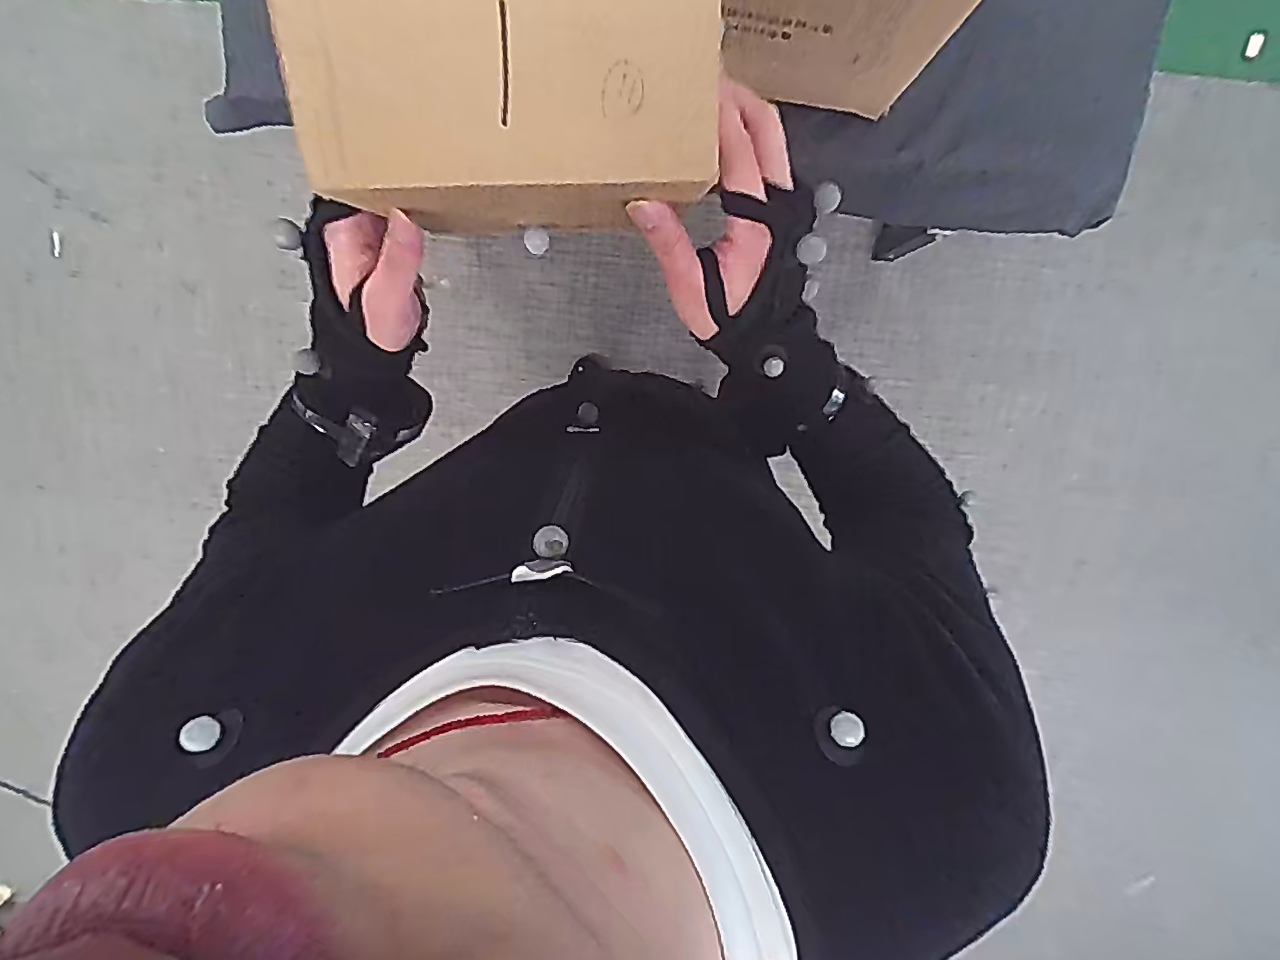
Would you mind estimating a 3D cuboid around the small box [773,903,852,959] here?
[{"bbox_3d":[0.518,1.435,1.647,0.179,0.176,0.168,5,104,-2],"label":"small box"}]

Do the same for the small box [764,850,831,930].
[{"bbox_3d":[0.524,1.389,1.823,0.168,0.176,0.179,4,103,-2],"label":"small box"}]
